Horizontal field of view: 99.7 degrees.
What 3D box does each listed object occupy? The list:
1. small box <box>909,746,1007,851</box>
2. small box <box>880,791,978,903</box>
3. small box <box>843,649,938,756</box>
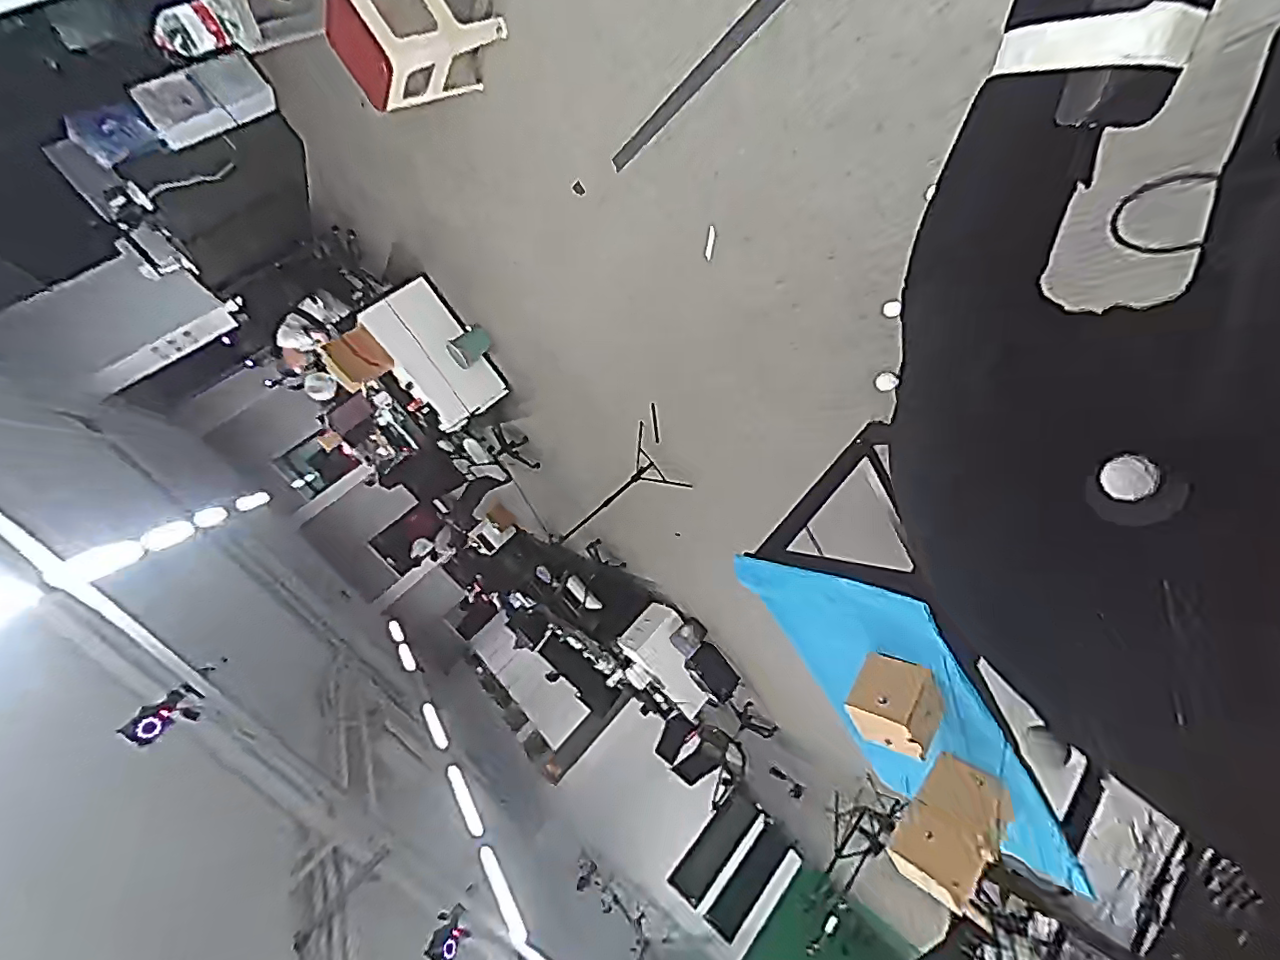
[{"bbox_3d":[0.932,0.934,1.587,0.179,0.176,0.168,7,135,56],"label":"small box"},{"bbox_3d":[0.820,1.044,1.536,0.179,0.176,0.168,10,138,53],"label":"small box"},{"bbox_3d":[0.665,0.588,1.449,0.176,0.179,0.168,3,132,49],"label":"small box"}]
